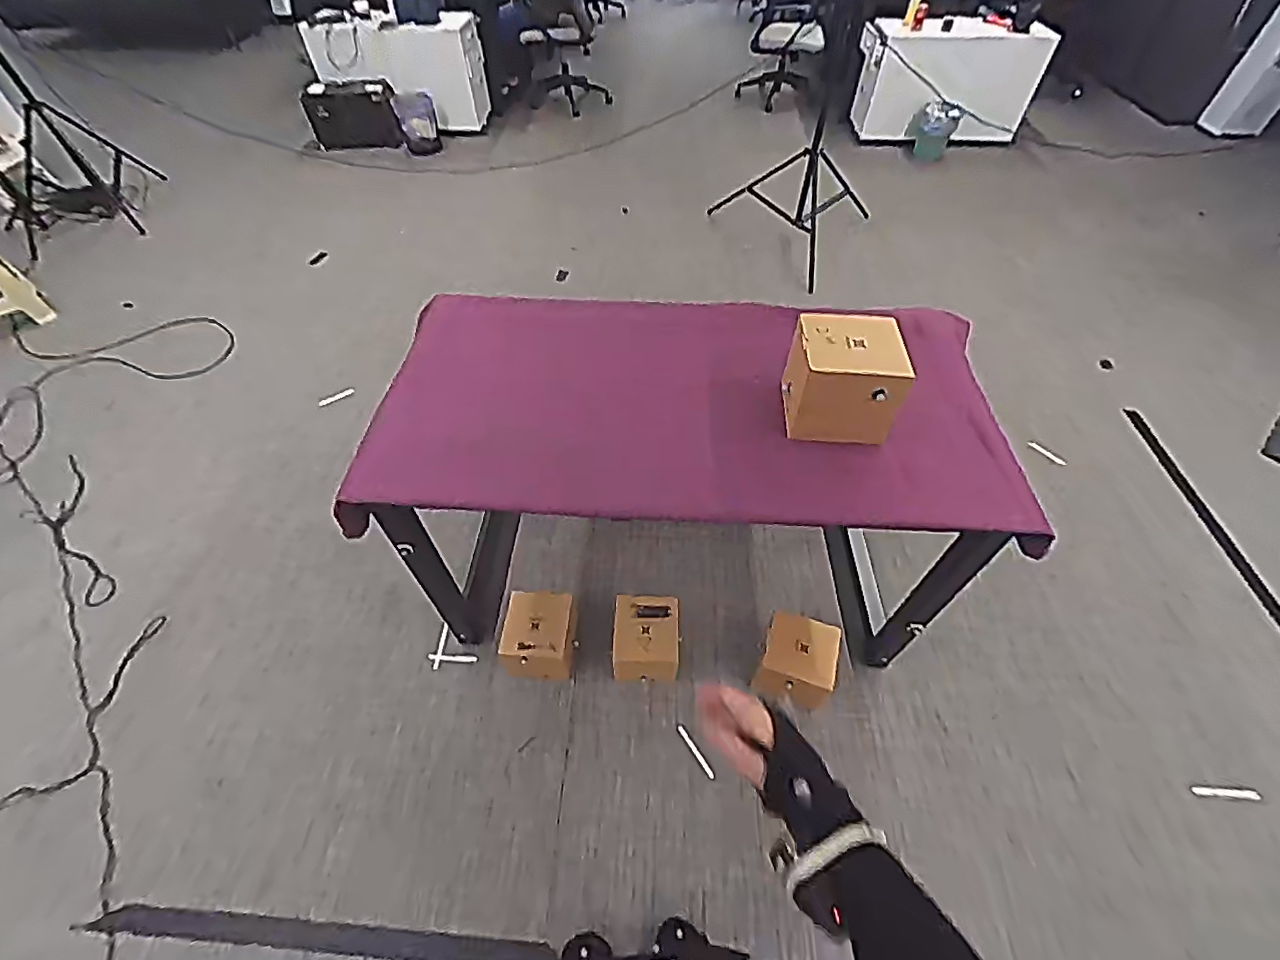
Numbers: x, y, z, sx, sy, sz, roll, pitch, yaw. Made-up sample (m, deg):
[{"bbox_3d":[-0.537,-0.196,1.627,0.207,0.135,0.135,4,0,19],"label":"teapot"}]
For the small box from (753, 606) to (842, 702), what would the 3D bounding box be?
[{"bbox_3d":[0.409,0.462,1.415,0.179,0.176,0.168,15,54,14],"label":"small box"}]

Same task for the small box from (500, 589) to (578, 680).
[{"bbox_3d":[-0.263,0.416,1.453,0.168,0.176,0.179,4,50,3],"label":"small box"}]

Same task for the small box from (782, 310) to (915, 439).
[{"bbox_3d":[0.373,-0.191,1.000,0.179,0.176,0.168,3,51,4],"label":"small box"}]
